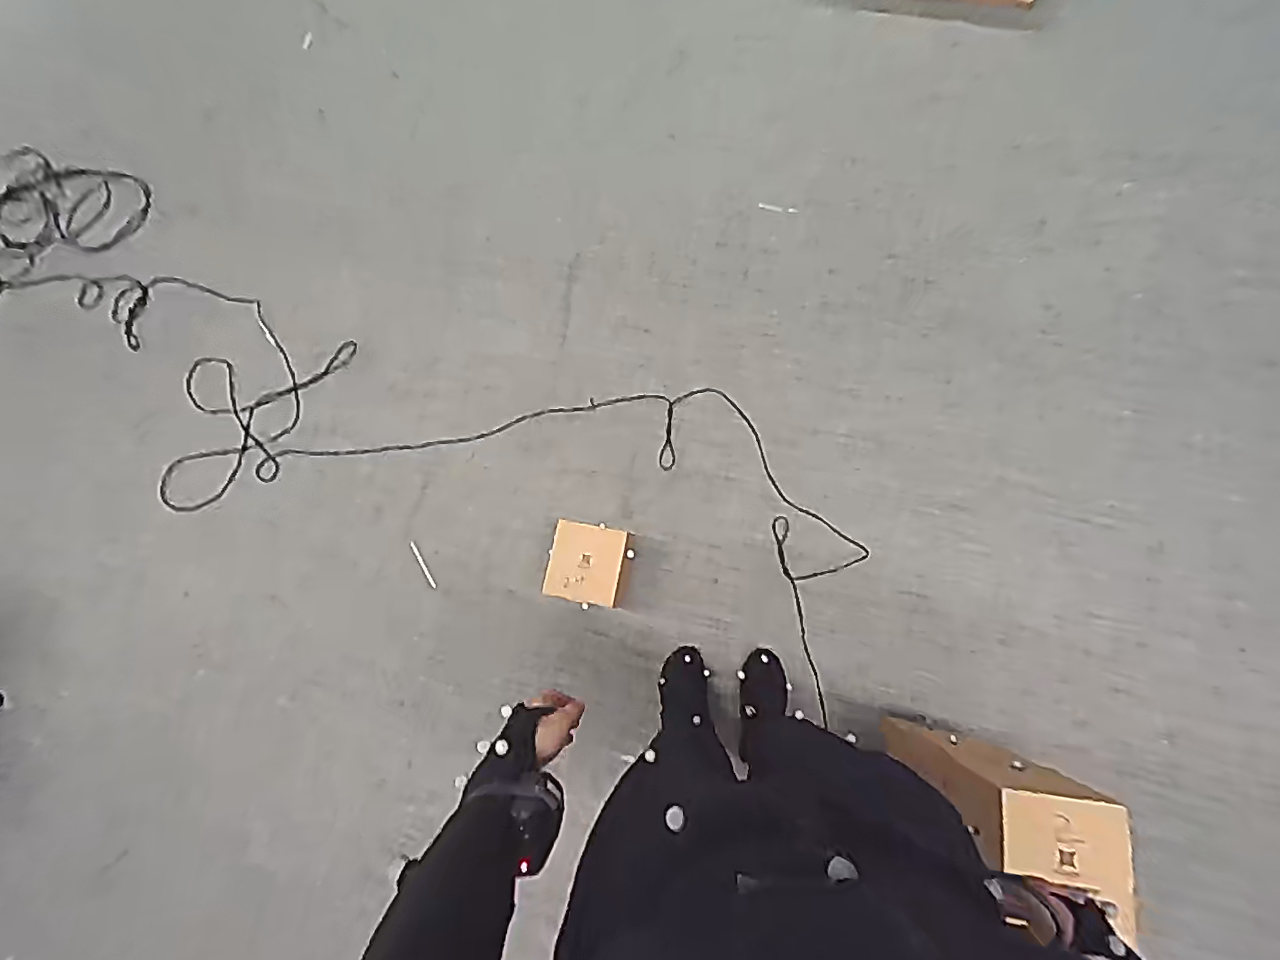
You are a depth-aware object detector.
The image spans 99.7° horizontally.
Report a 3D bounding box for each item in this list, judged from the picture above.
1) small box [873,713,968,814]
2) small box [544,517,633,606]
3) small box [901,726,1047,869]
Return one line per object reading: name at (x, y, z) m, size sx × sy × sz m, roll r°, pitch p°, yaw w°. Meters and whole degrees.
small box at (0.616, 0.612, 1.152) m, size 0.179 × 0.176 × 0.168 m, roll 11°, pitch 80°, yaw 8°
small box at (-0.115, 0.200, 1.303) m, size 0.168 × 0.176 × 0.179 m, roll 10°, pitch 79°, yaw 8°
small box at (0.602, 0.569, 0.995) m, size 0.179 × 0.176 × 0.168 m, roll 8°, pitch 81°, yaw 6°
